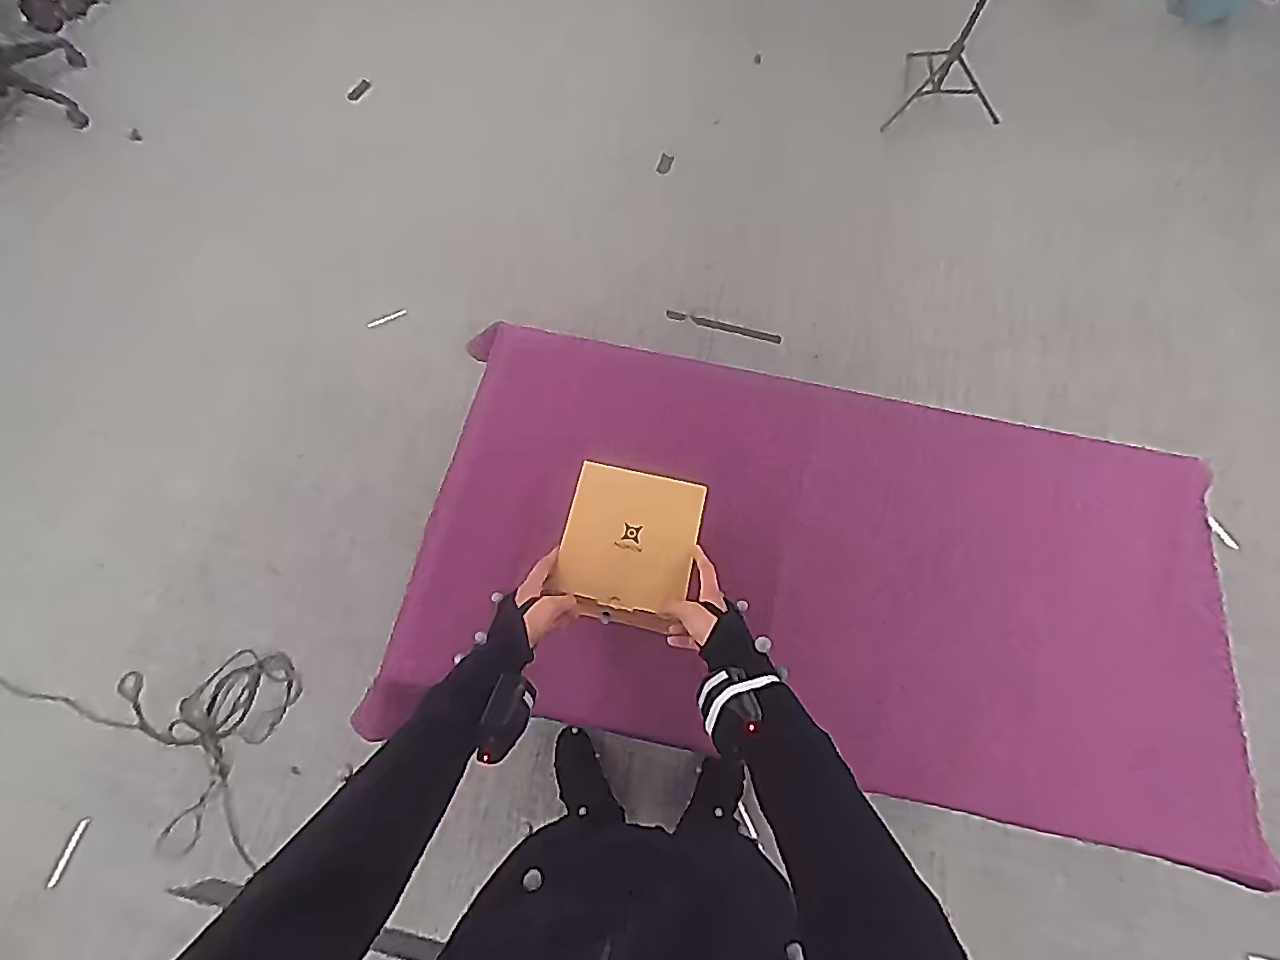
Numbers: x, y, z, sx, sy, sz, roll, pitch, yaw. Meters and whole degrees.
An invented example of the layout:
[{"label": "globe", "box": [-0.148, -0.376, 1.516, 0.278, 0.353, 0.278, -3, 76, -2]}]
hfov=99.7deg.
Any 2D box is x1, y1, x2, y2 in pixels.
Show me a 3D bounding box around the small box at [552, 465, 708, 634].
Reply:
[{"label": "small box", "box": [-0.013, 0.103, 0.746, 0.168, 0.176, 0.179, 12, 70, 3]}]
